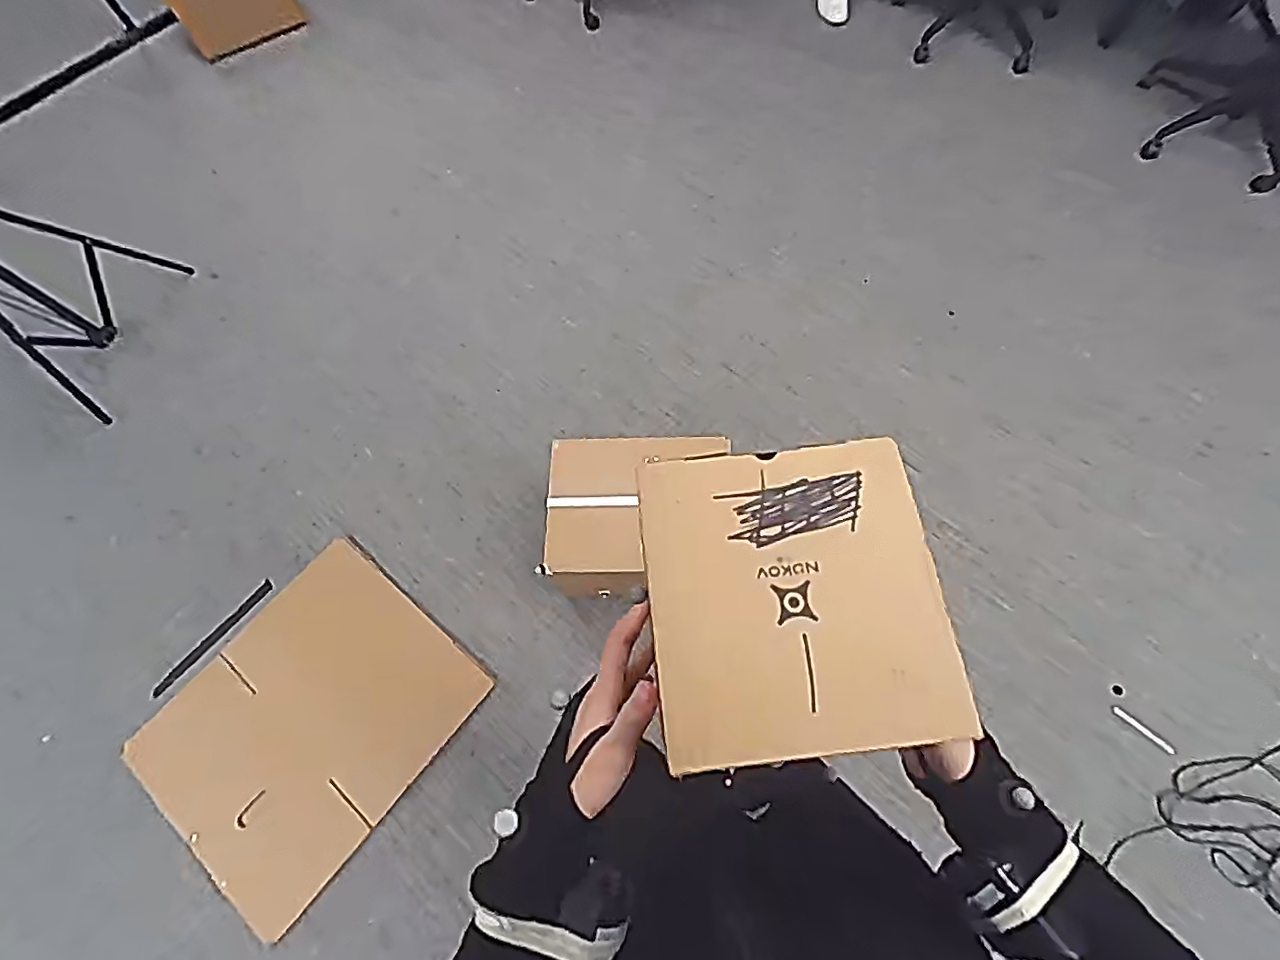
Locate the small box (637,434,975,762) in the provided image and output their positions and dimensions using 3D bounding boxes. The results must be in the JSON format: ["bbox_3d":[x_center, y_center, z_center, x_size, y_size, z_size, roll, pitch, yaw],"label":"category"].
[{"bbox_3d":[0.087,0.087,0.384,0.168,0.176,0.179,-7,69,-1],"label":"small box"}]
